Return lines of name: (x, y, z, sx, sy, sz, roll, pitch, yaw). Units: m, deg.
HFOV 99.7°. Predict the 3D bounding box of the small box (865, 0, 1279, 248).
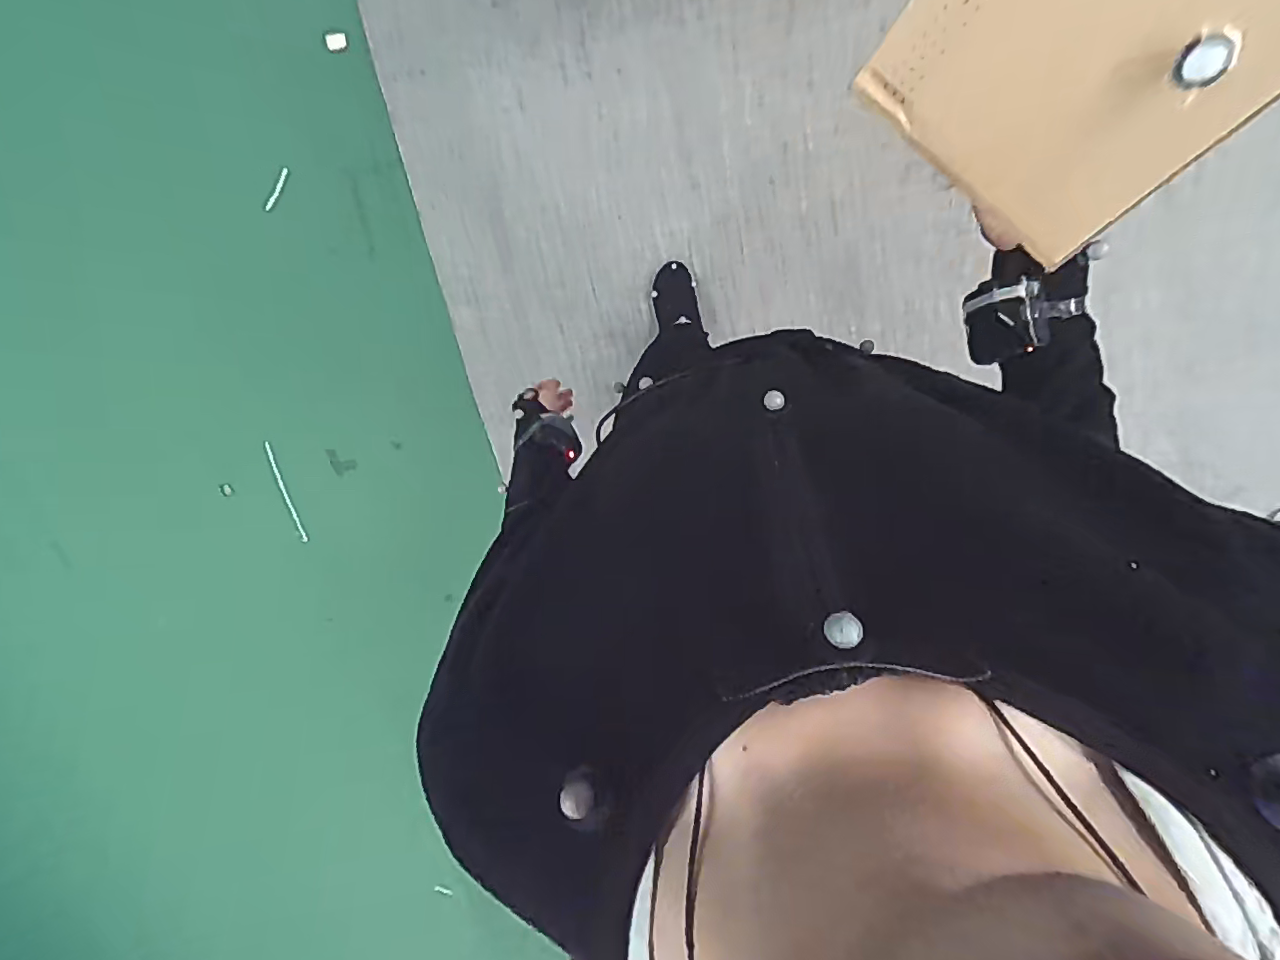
small box: (0.245, -0.273, 0.296, 0.176, 0.168, 0.179, 37, 138, -5)
